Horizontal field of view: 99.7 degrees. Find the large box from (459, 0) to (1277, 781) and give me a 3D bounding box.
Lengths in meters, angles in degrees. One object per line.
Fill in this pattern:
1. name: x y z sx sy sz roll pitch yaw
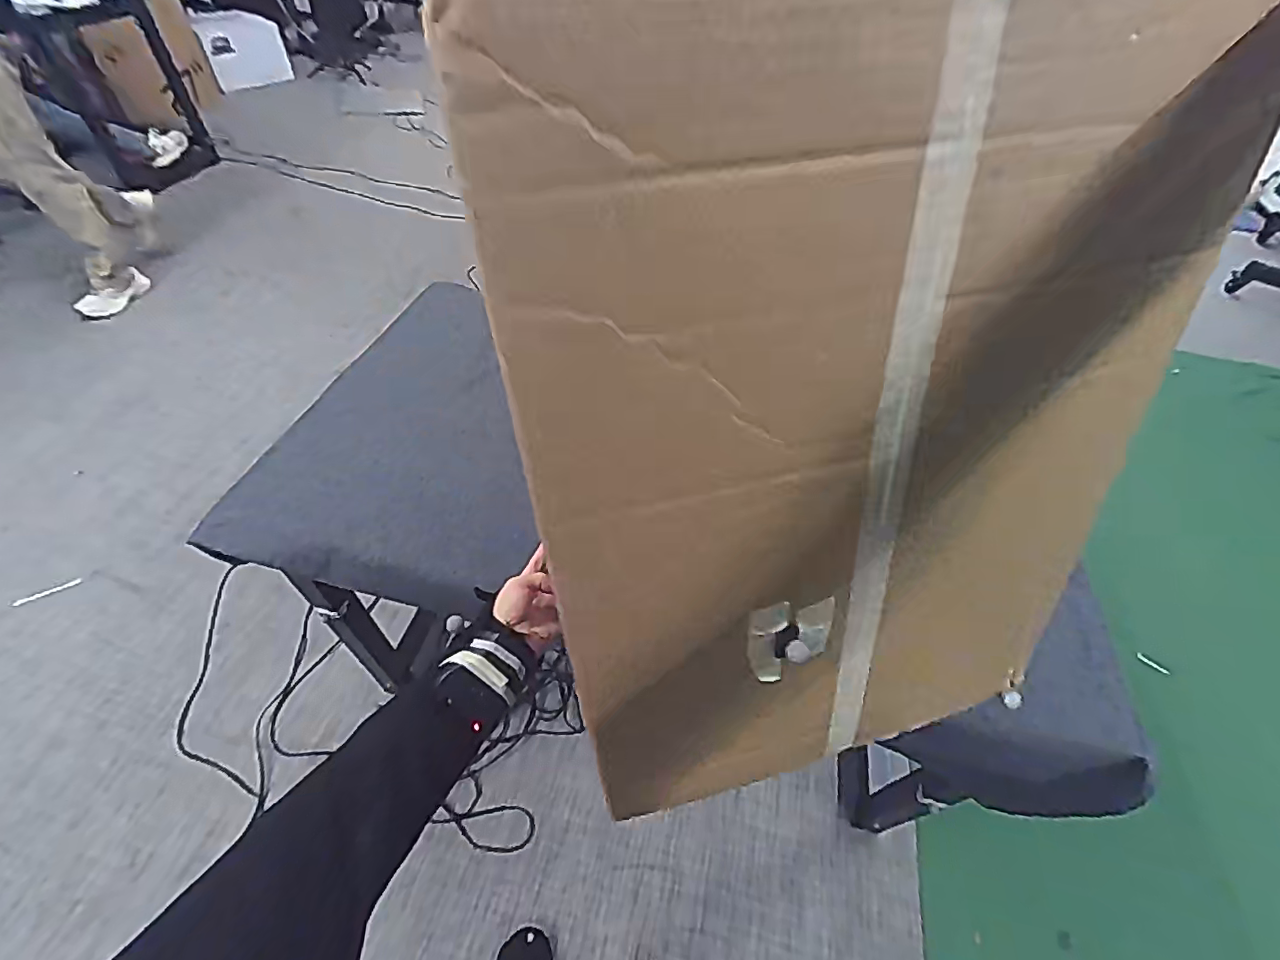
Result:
1. large box: 0.078 -0.069 0.407 0.320 0.408 0.320 -14 35 -10
